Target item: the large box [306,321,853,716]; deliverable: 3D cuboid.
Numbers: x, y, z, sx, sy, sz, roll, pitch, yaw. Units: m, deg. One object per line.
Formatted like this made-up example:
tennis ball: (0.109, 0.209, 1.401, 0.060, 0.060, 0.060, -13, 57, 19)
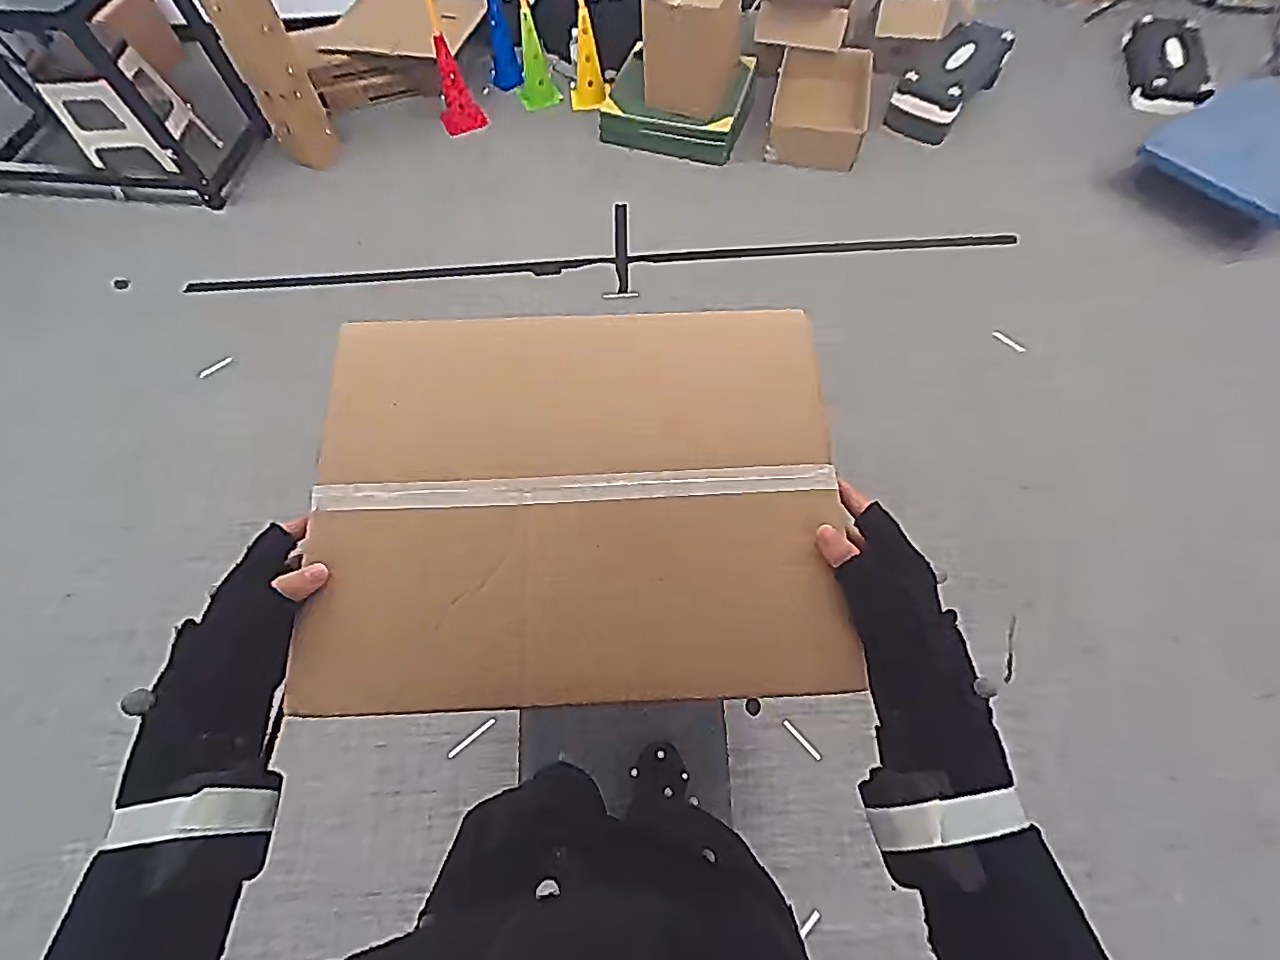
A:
large box: (-0.049, 0.055, 0.574, 0.408, 0.320, 0.320, -2, 72, -2)
